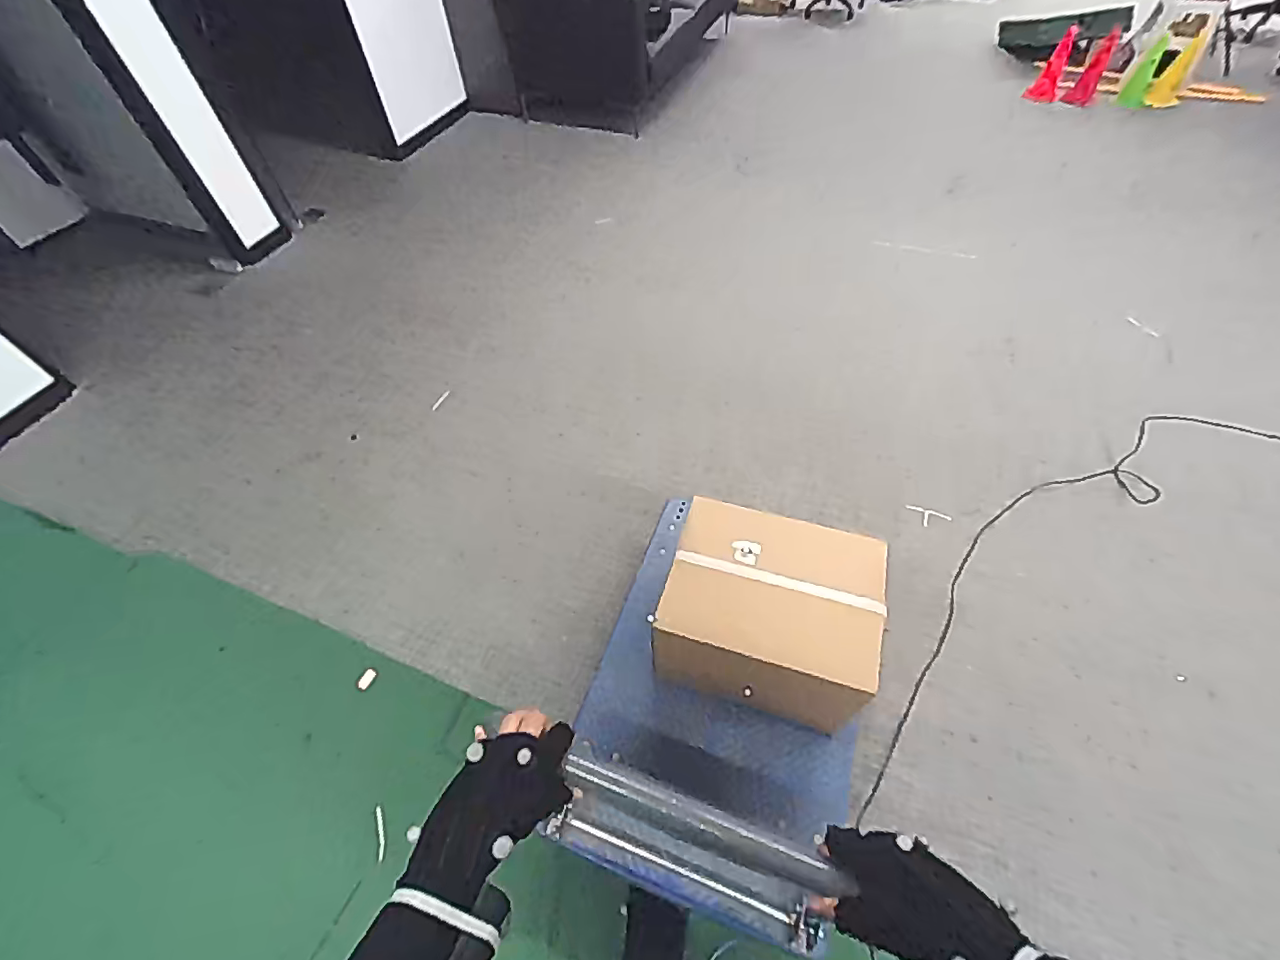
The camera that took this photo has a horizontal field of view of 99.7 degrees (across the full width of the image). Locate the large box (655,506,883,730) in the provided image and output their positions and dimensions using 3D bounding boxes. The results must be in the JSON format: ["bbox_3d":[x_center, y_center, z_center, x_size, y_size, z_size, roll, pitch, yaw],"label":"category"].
[{"bbox_3d":[0.271,0.299,1.168,0.408,0.320,0.320,12,54,13],"label":"large box"}]
